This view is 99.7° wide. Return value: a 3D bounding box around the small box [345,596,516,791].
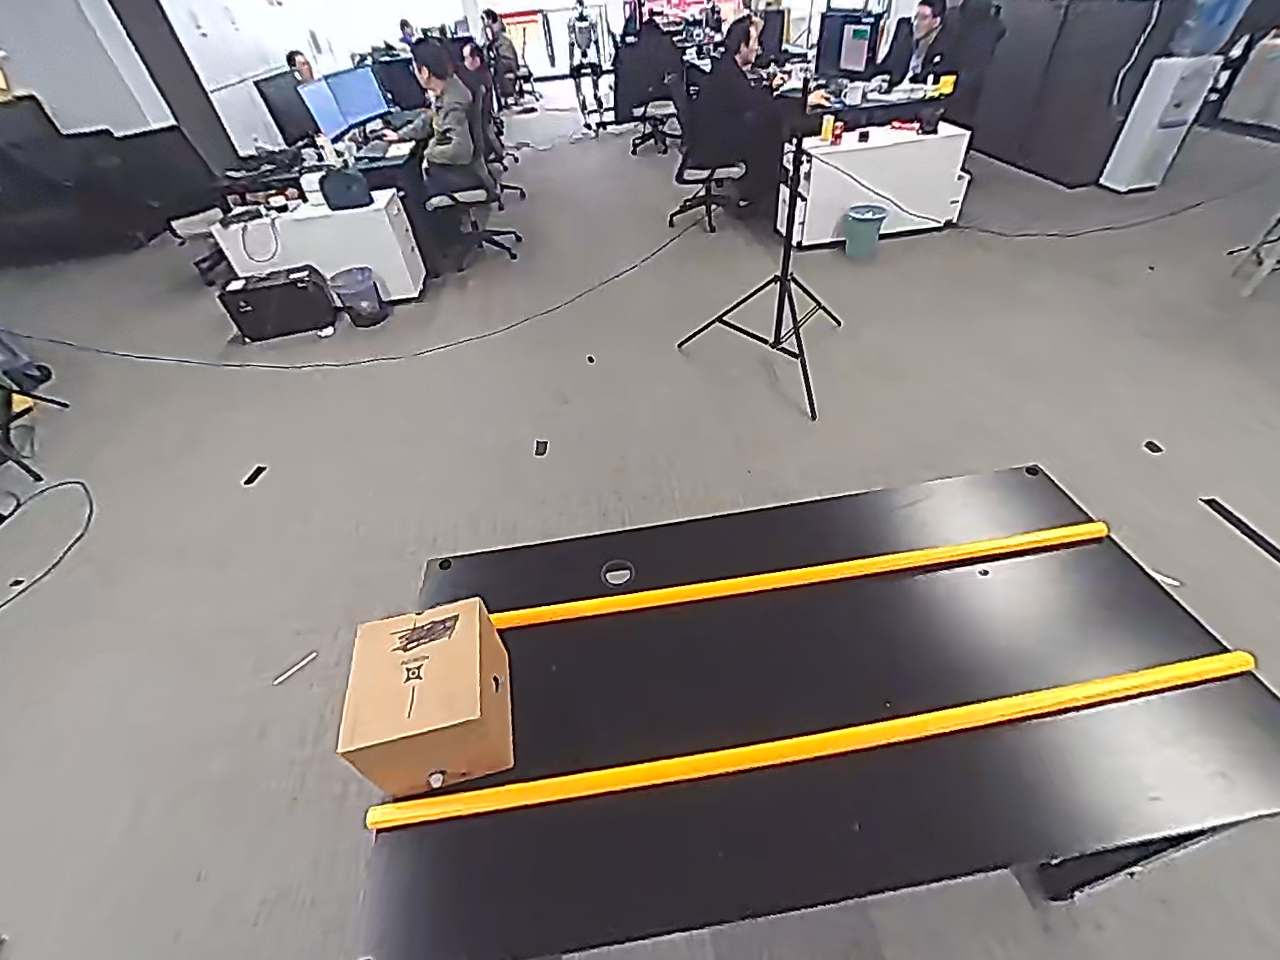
[{"bbox_3d":[-0.273,0.292,0.744,0.168,0.176,0.179,-12,44,-6],"label":"small box"}]
